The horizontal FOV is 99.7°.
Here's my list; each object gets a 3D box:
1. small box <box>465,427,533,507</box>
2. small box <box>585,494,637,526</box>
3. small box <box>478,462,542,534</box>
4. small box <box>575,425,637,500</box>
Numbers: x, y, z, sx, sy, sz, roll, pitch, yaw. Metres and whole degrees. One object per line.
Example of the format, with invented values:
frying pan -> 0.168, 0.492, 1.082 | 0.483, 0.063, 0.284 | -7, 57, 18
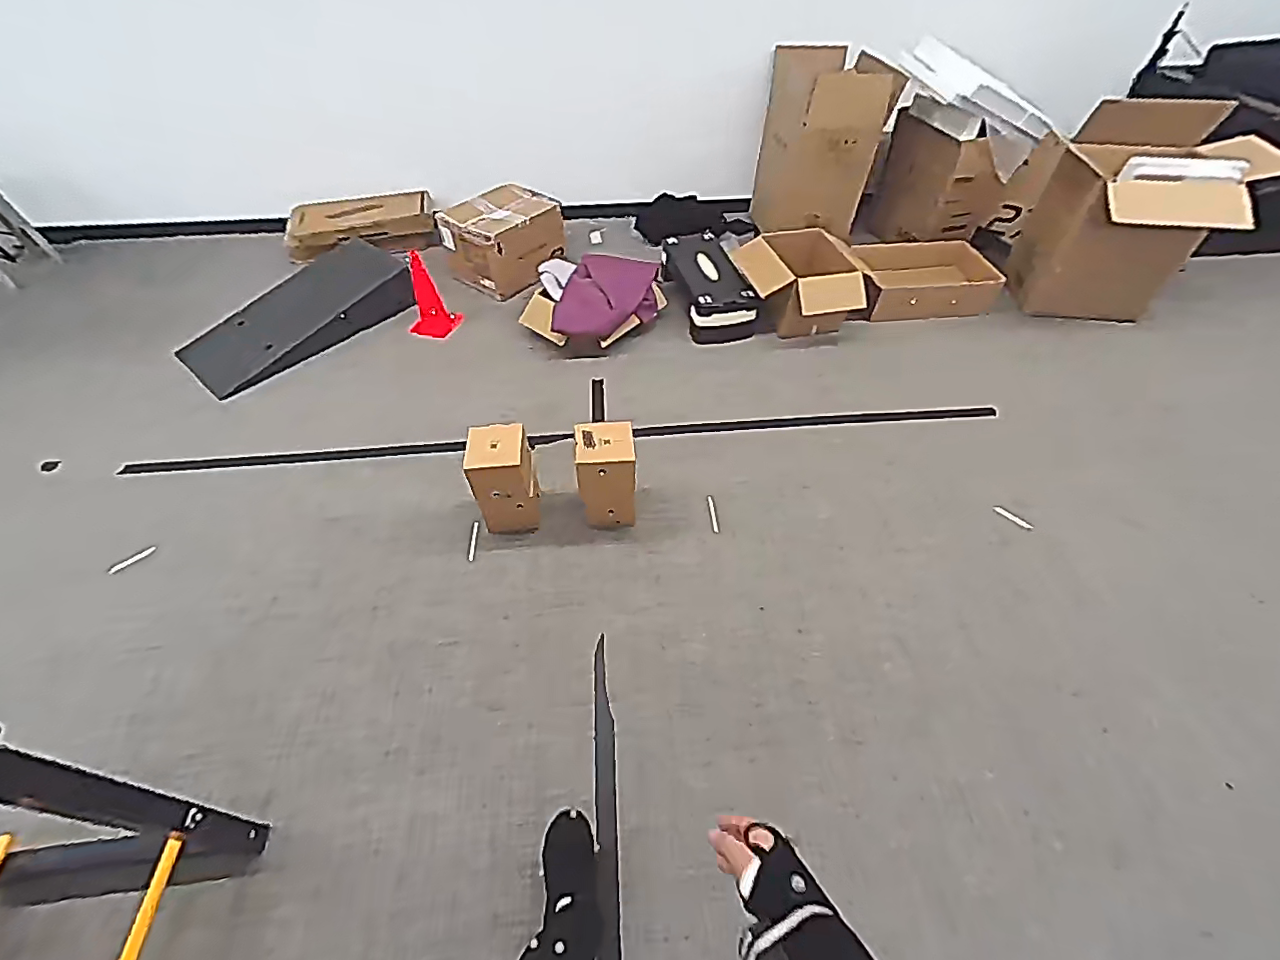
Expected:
small box -> -0.426, -0.040, 1.661 | 0.168, 0.176, 0.179 | -6, 51, -2
small box -> -0.095, 0.044, 1.803 | 0.168, 0.176, 0.179 | -2, 50, -2
small box -> -0.422, 0.061, 1.788 | 0.179, 0.176, 0.168 | -6, 49, -4
small box -> -0.104, -0.051, 1.666 | 0.179, 0.176, 0.168 | -4, 50, -4
